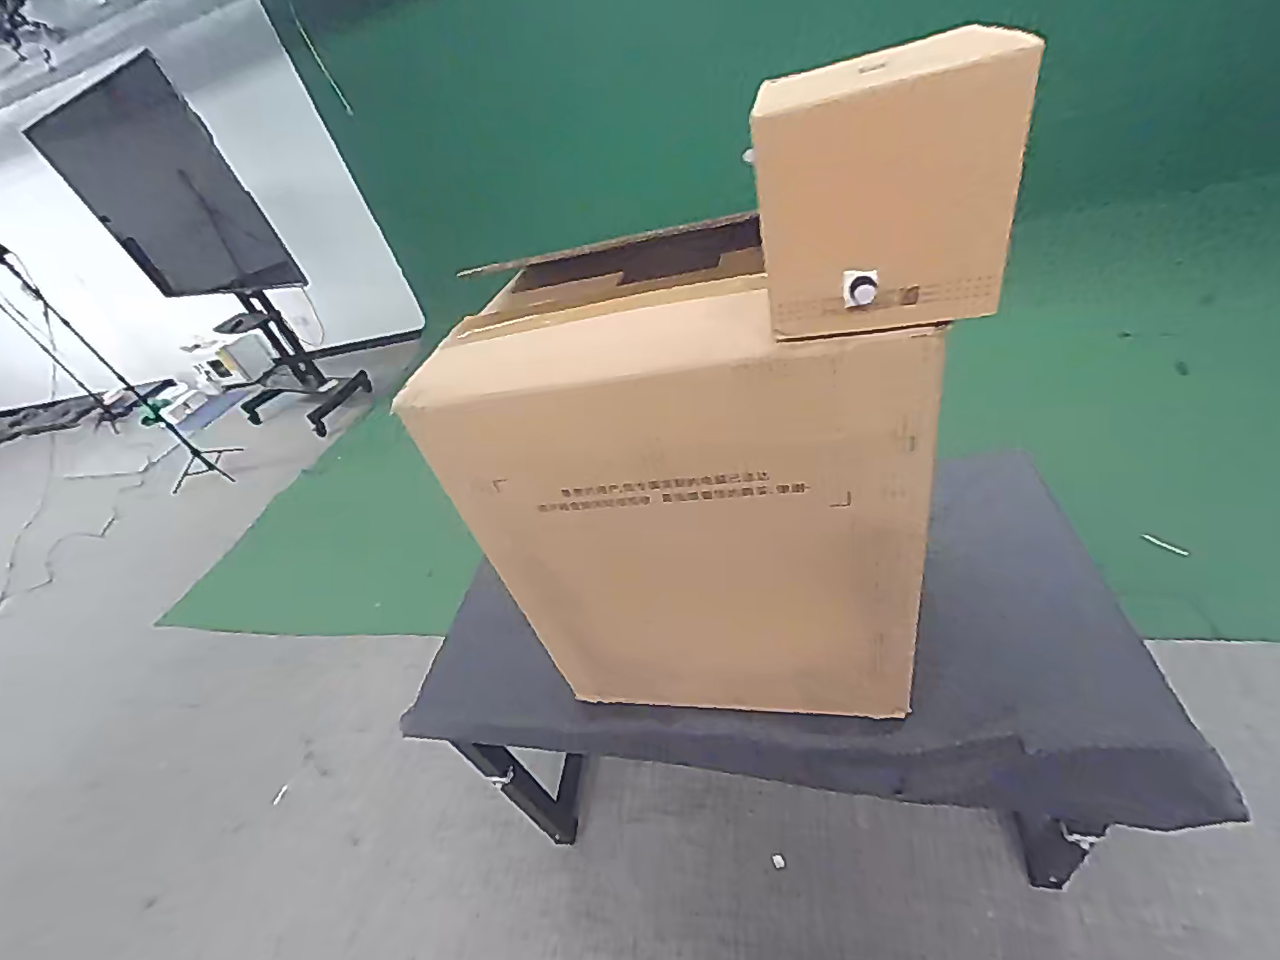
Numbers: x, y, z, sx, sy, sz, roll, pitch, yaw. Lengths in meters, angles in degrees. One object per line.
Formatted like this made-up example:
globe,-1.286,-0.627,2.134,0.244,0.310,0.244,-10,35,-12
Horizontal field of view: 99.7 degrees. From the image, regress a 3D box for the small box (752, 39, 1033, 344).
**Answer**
small box,0.187,-0.234,0.449,0.168,0.176,0.179,-5,40,18
